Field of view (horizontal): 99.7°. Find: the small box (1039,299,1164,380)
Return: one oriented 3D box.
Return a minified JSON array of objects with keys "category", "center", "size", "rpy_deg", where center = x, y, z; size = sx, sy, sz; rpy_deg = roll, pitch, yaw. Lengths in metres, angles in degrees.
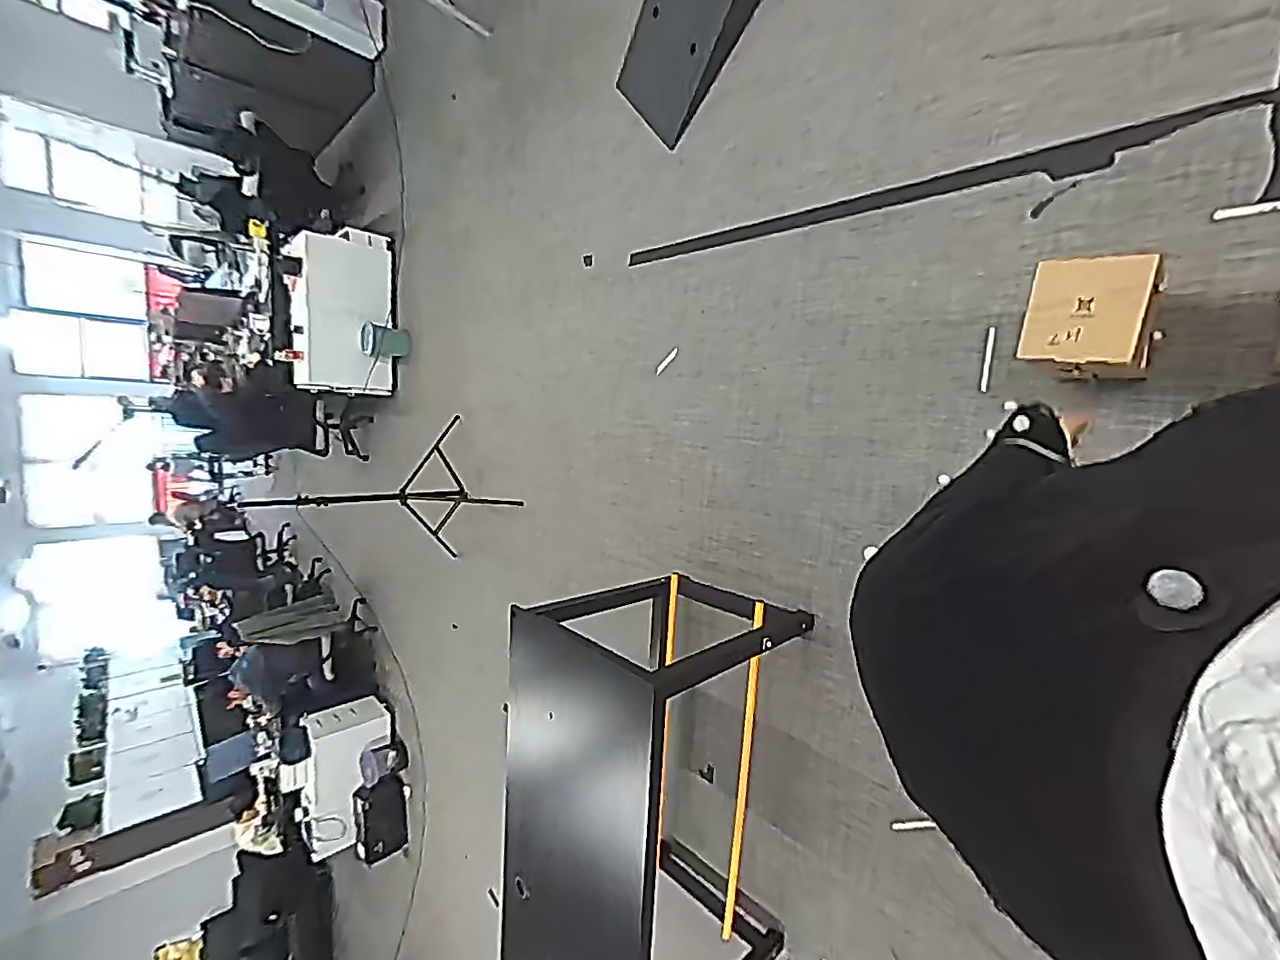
[{"category":"small box","center":[0.945,-0.296,1.105],"size":[0.168,0.176,0.179],"rpy_deg":[10,101,46]}]

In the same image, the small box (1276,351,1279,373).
[{"category":"small box","center":[1.178,-0.254,0.868],"size":[0.179,0.176,0.168],"rpy_deg":[15,103,44]}]

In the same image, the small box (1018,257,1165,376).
[{"category":"small box","center":[0.827,-0.293,0.989],"size":[0.168,0.176,0.179],"rpy_deg":[18,105,45]}]
